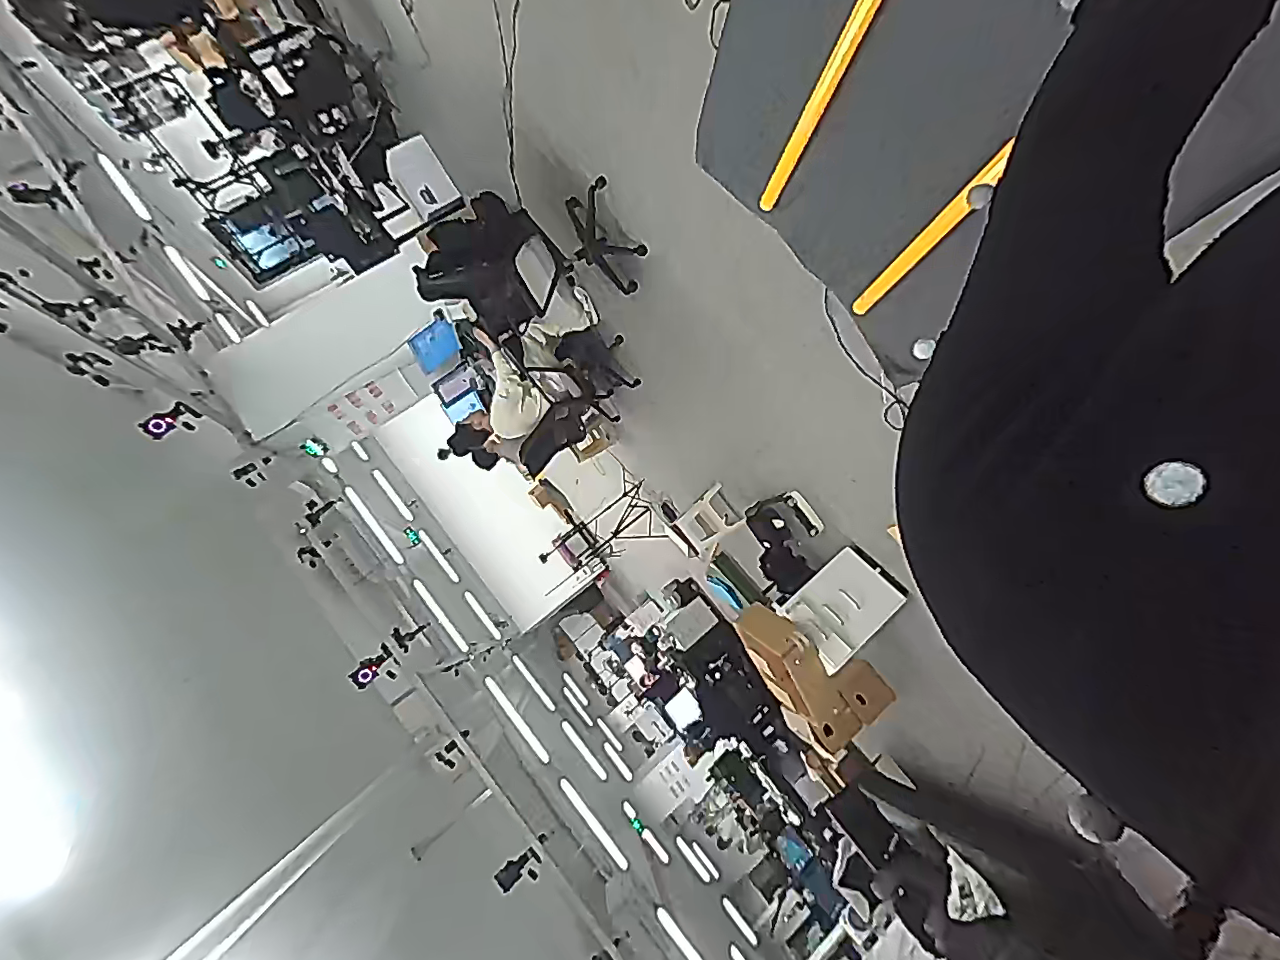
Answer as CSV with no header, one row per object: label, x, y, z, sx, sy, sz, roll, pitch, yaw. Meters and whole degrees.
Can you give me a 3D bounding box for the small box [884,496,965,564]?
small box,1.039,0.180,1.965,0.168,0.176,0.179,49,165,10
